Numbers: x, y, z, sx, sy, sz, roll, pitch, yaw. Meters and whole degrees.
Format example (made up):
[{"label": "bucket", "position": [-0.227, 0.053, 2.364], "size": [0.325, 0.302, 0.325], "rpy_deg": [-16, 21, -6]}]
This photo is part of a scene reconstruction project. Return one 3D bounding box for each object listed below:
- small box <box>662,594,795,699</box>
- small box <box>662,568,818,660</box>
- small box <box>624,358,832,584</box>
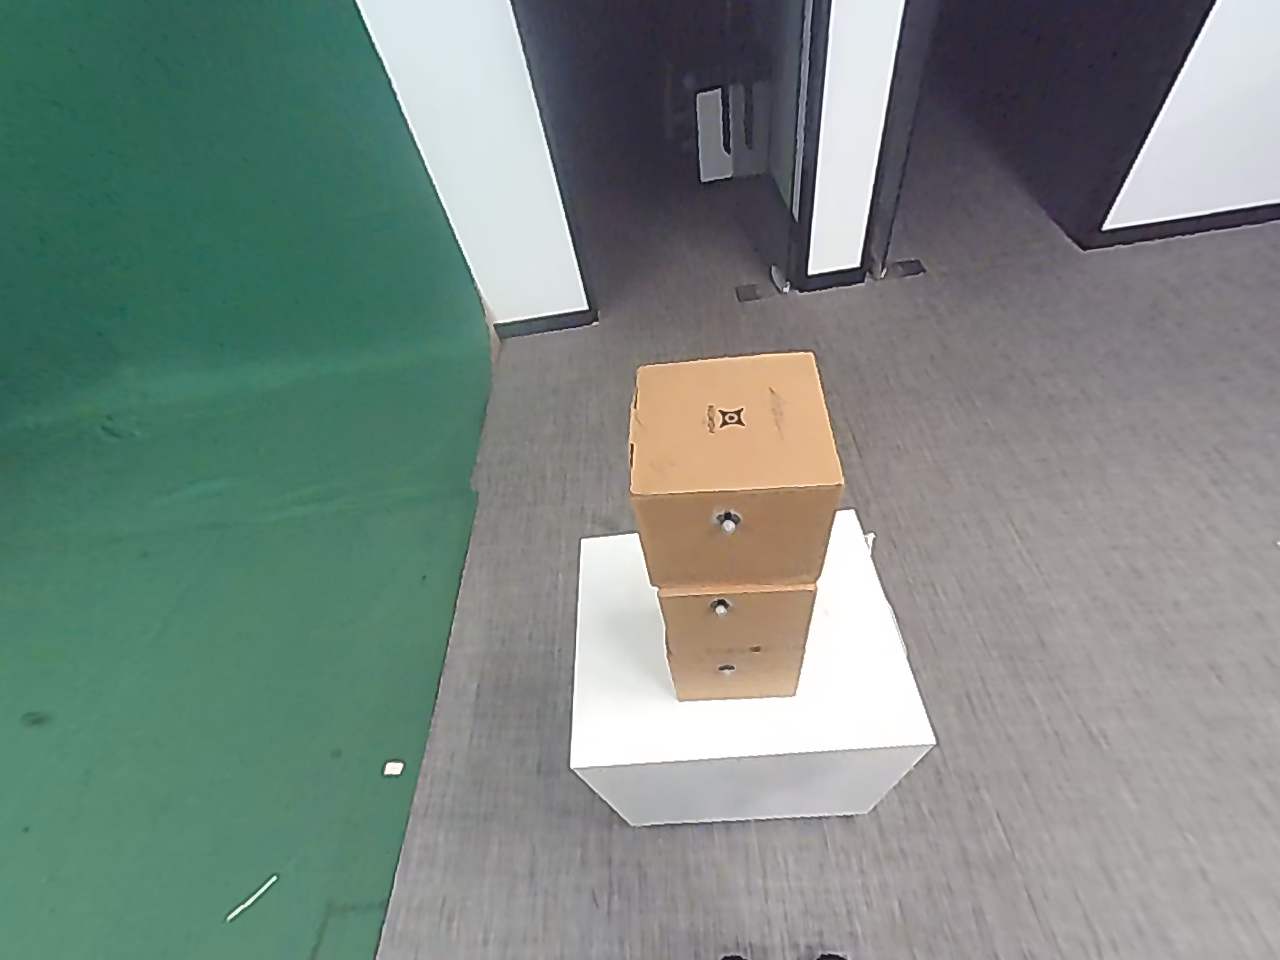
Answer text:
[{"label": "small box", "position": [0.129, 0.214, 0.800], "size": [0.179, 0.176, 0.168], "rpy_deg": [-5, 49, 7]}, {"label": "small box", "position": [0.113, 0.107, 0.681], "size": [0.168, 0.176, 0.179], "rpy_deg": [-5, 50, 5]}, {"label": "small box", "position": [0.087, -0.002, 0.560], "size": [0.179, 0.176, 0.168], "rpy_deg": [-3, 52, 8]}]
